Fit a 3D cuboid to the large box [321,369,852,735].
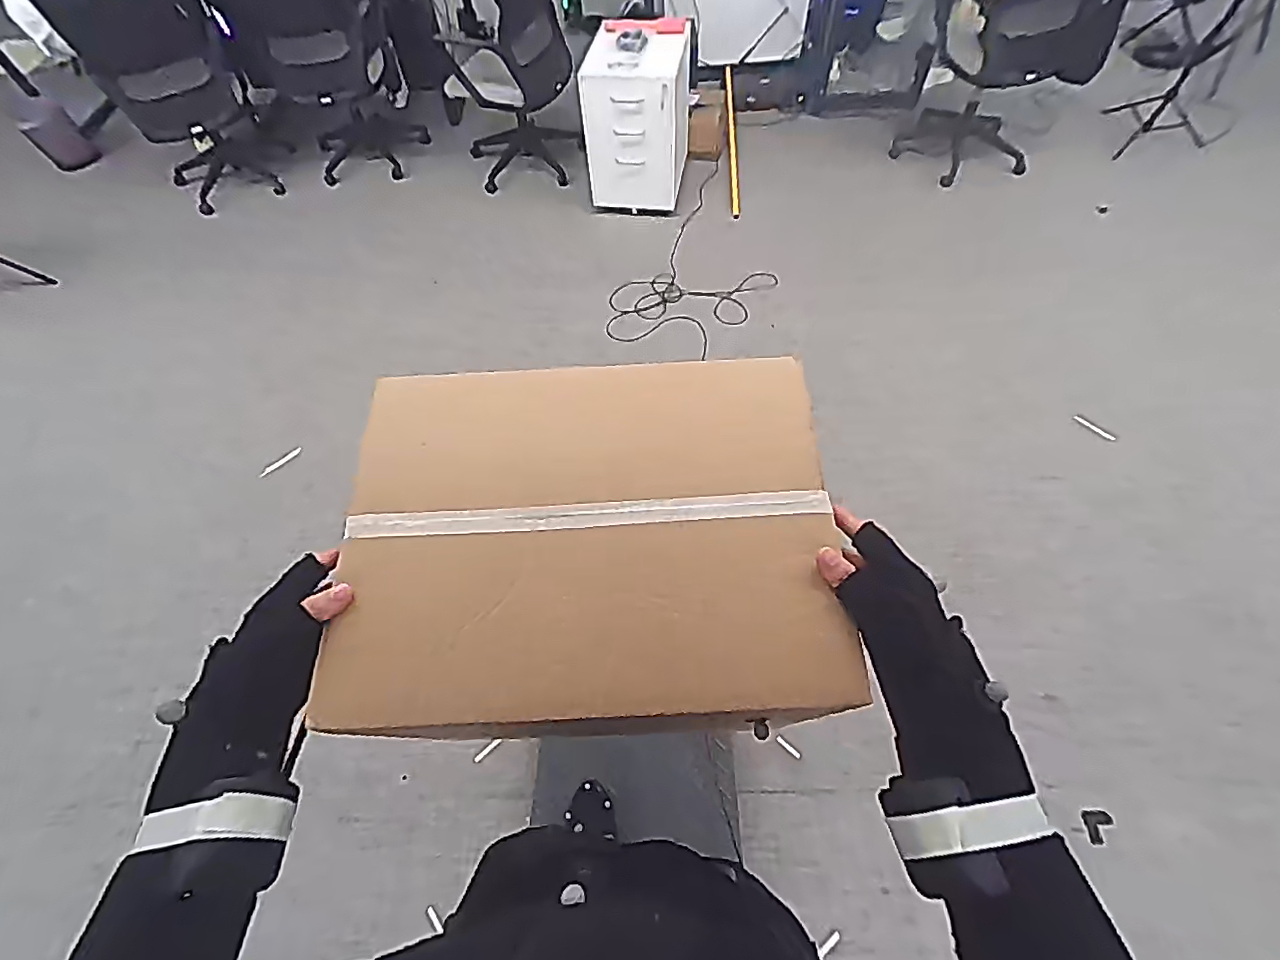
[{"bbox_3d":[-0.042,0.102,0.598,0.408,0.320,0.320,-2,63,0],"label":"large box"}]
